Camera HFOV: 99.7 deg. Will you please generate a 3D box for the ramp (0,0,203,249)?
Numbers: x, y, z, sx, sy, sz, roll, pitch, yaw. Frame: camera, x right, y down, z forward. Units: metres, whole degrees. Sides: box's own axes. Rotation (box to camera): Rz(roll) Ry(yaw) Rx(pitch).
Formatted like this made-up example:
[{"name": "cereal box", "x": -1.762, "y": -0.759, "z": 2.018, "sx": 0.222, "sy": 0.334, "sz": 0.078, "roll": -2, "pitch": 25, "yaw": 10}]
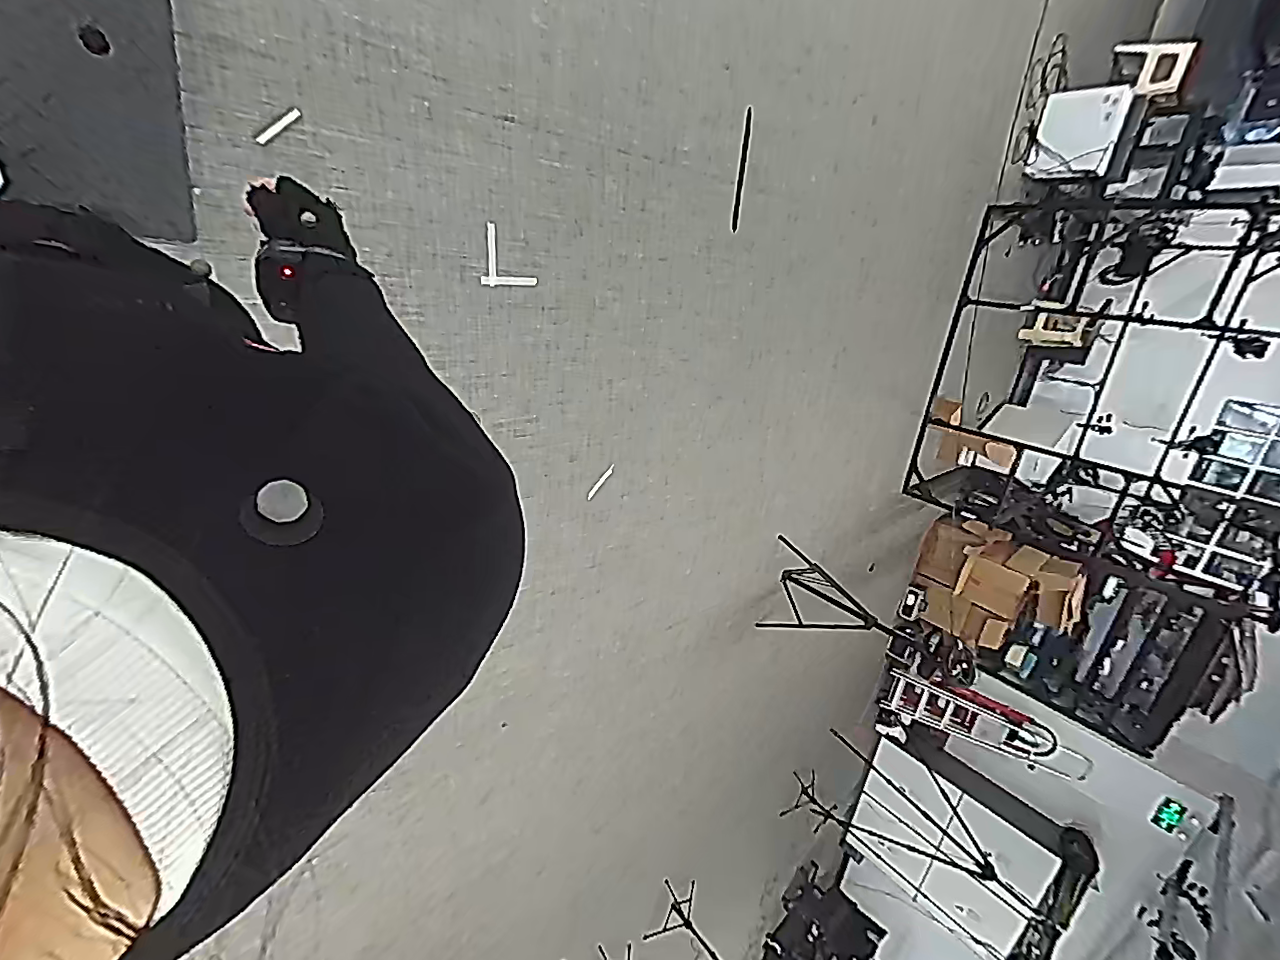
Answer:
[{"name": "ramp", "x": -0.948, "y": -0.855, "z": 0.707, "sx": 0.509, "sy": 0.206, "sz": 0.991, "roll": -14, "pitch": 118, "yaw": -40}]
